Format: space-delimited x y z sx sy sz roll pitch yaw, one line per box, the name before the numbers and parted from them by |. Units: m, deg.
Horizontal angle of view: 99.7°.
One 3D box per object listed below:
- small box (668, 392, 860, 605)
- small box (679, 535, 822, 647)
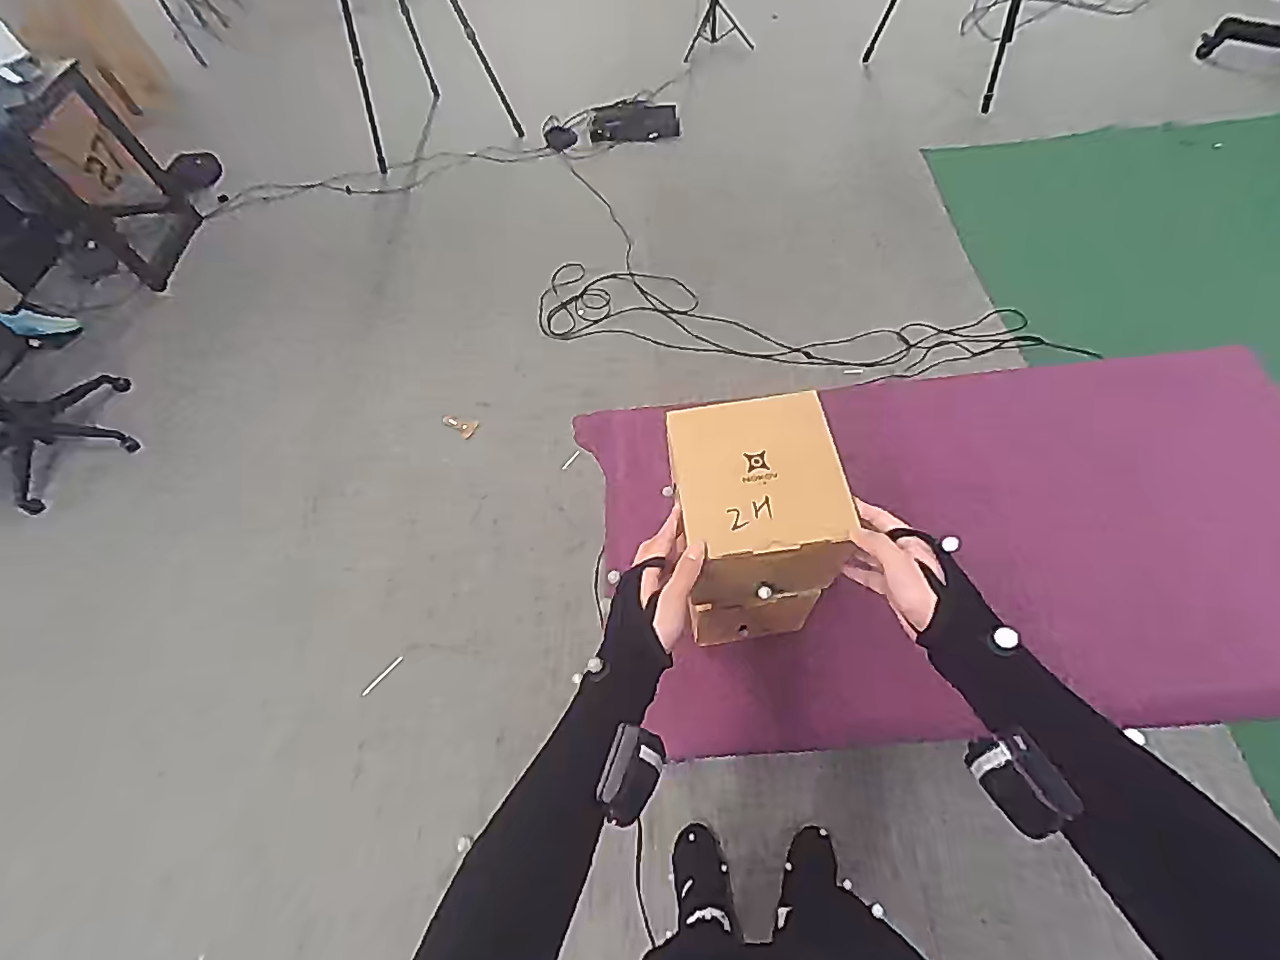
small box | 0.125 0.027 0.617 0.168 0.176 0.179 -8 61 3
small box | 0.151 0.133 0.812 0.168 0.176 0.179 -10 59 0
